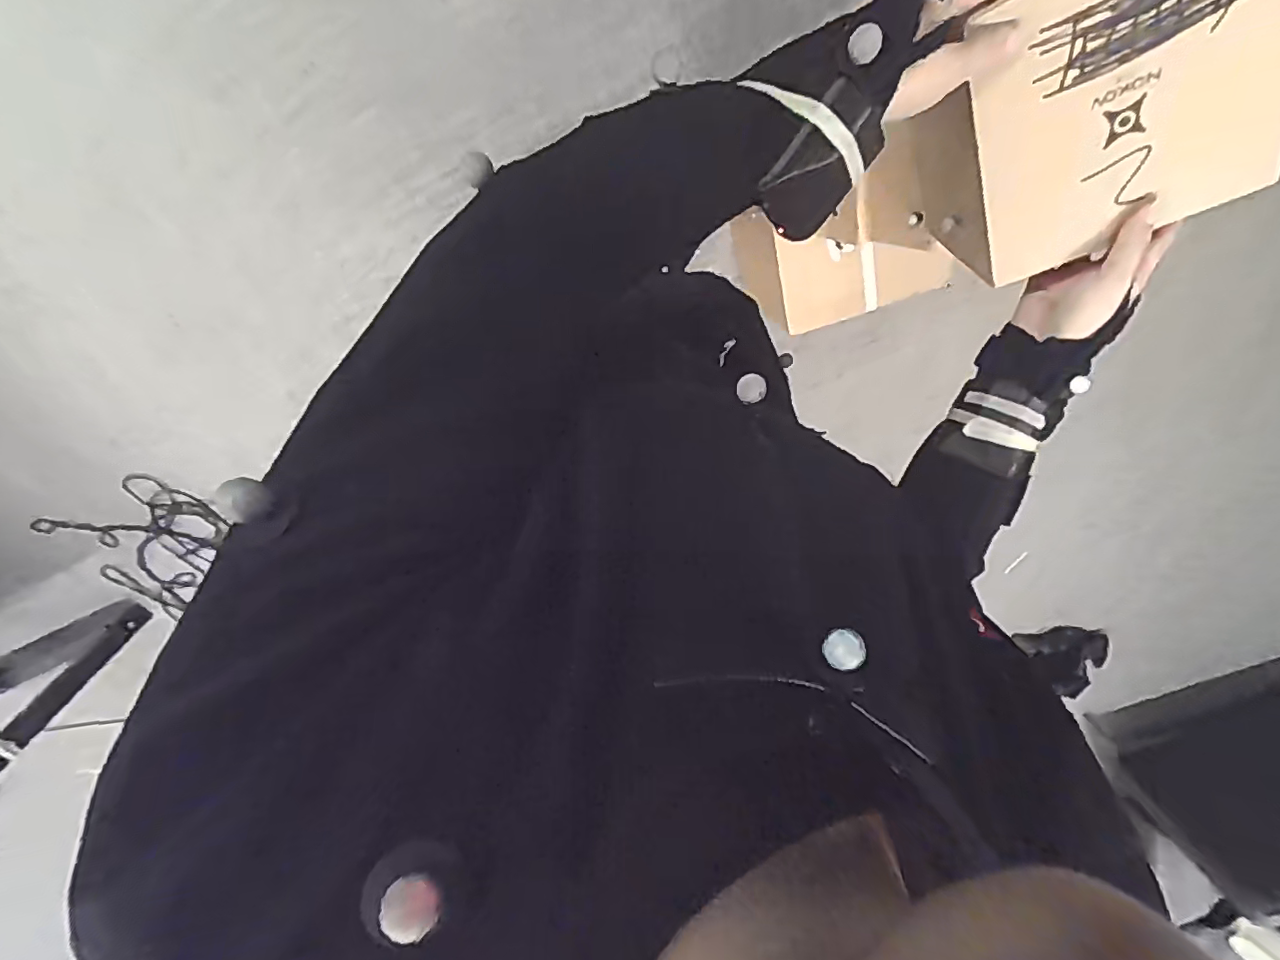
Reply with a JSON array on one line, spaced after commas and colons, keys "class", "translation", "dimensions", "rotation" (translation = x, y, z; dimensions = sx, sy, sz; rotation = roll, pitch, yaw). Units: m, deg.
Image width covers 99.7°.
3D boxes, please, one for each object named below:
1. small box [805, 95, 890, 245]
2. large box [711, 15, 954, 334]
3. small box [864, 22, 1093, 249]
[{"class": "small box", "translation": [0.359, -0.467, 0.796], "dimensions": [0.168, 0.176, 0.179], "rotation": [-17, 118, 2]}, {"class": "large box", "translation": [0.354, -0.552, 1.027], "dimensions": [0.320, 0.320, 0.408], "rotation": [-17, 120, 5]}, {"class": "small box", "translation": [0.388, -0.398, 0.651], "dimensions": [0.168, 0.176, 0.179], "rotation": [-18, 120, 3]}]
